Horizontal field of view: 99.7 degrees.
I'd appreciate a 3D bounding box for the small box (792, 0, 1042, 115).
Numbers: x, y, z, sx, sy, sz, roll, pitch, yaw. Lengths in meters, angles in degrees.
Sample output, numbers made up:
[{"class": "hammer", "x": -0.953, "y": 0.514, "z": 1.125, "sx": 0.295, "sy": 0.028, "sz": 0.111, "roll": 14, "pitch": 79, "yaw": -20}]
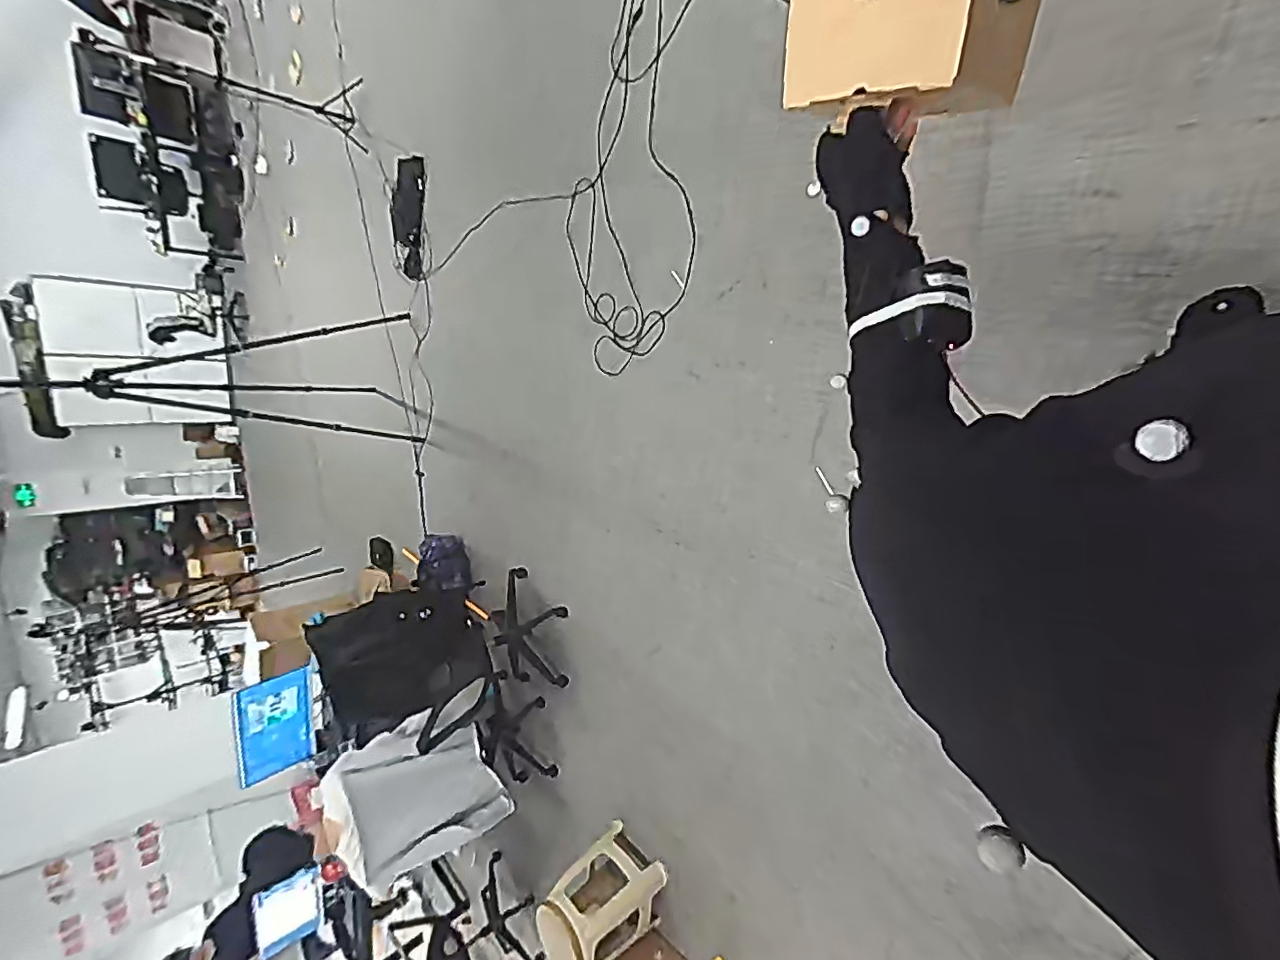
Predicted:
[{"class": "small box", "x": 0.266, "y": -0.453, "z": 0.506, "sx": 0.168, "sy": 0.176, "sz": 0.179, "roll": 25, "pitch": 128, "yaw": 39}]
